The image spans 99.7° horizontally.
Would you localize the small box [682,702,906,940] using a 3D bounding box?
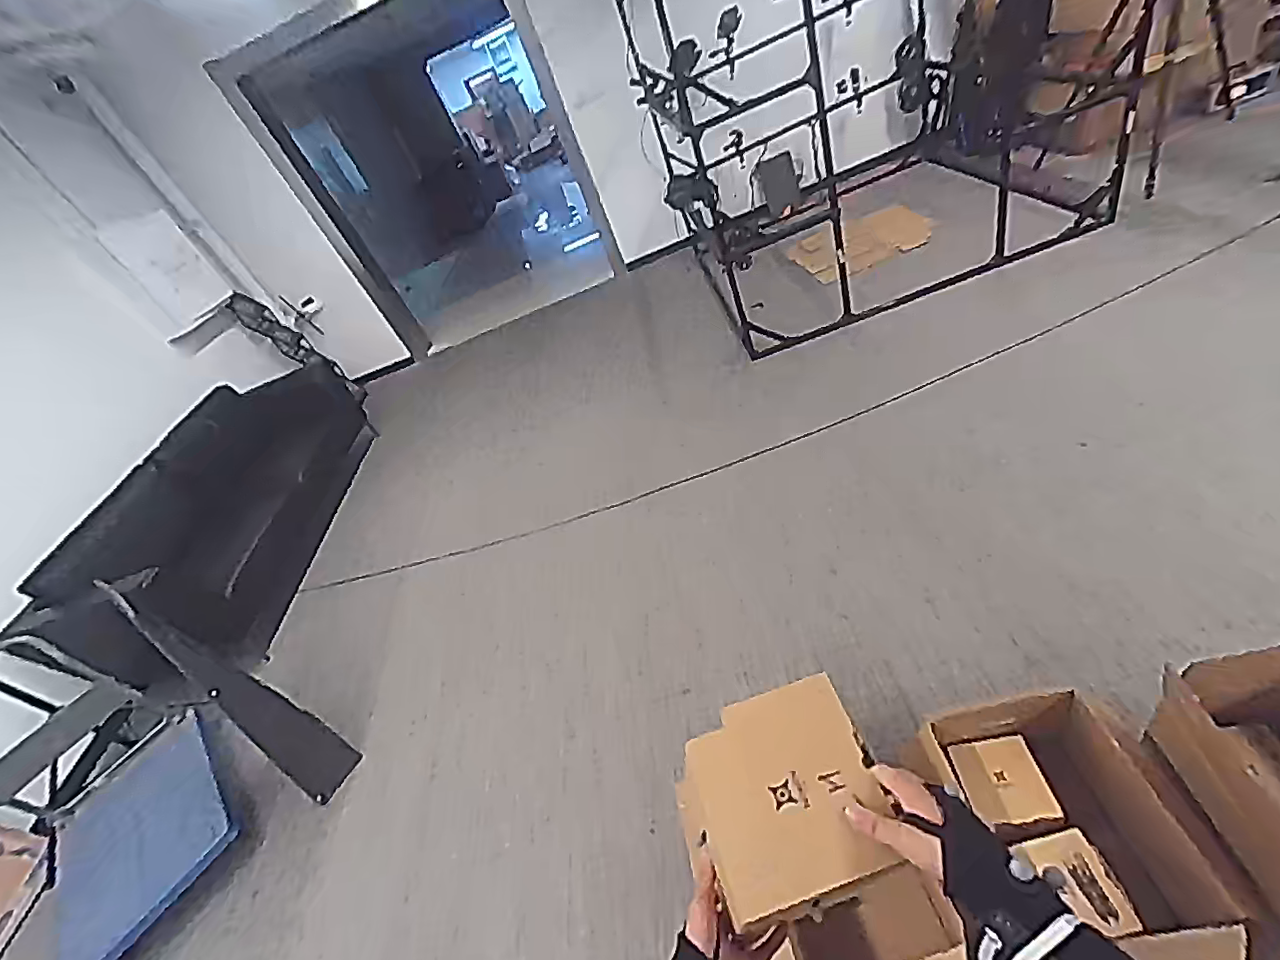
[{"bbox_3d":[0.155,0.384,0.607,0.179,0.176,0.168,-13,46,-9],"label":"small box"}]
